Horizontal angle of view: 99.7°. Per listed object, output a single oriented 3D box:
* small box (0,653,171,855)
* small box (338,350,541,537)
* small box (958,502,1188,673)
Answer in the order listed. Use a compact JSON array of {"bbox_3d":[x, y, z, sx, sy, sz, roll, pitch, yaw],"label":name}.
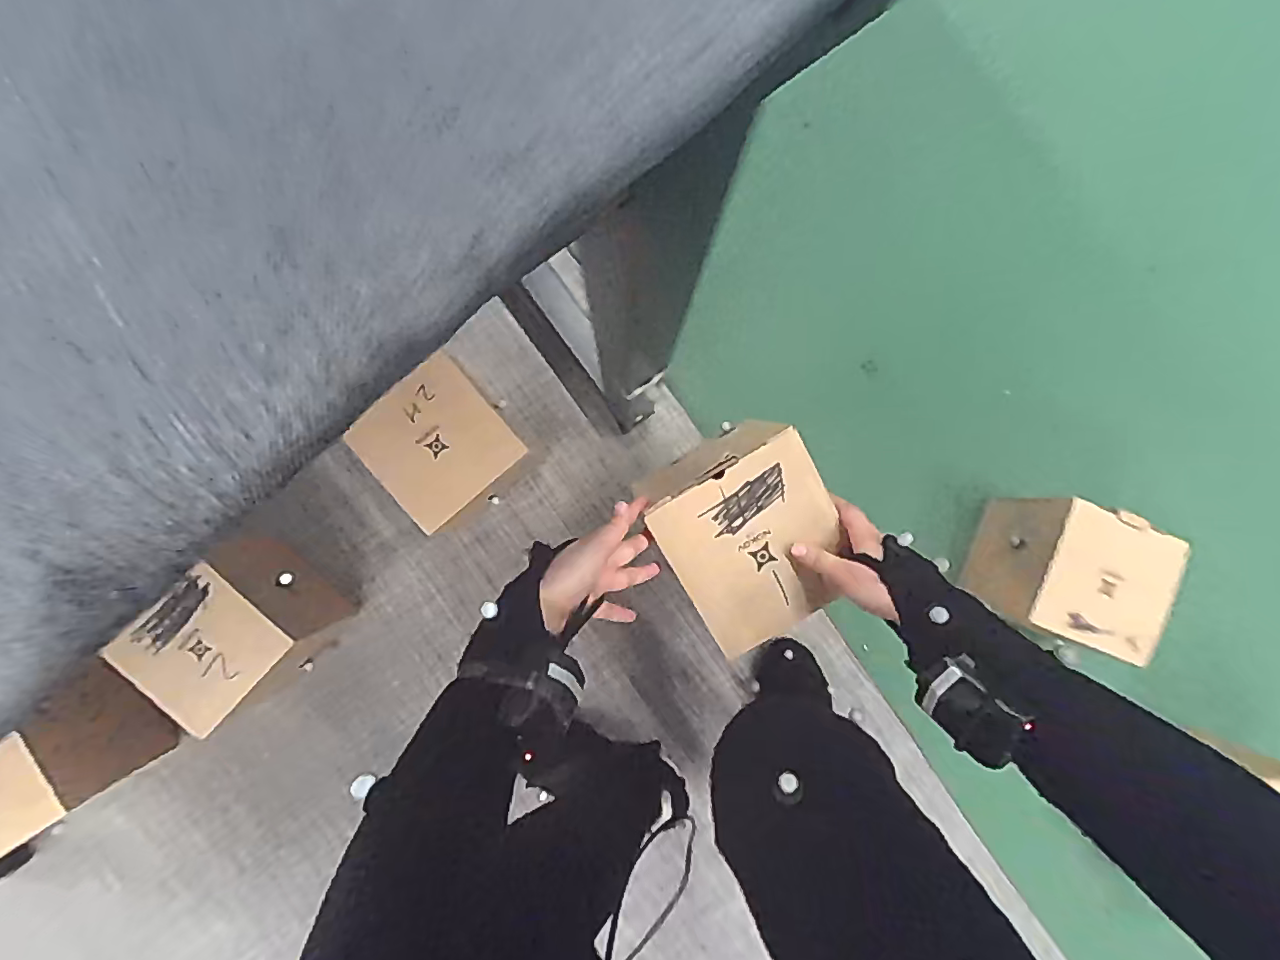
[{"bbox_3d":[-0.797,0.365,0.722,0.168,0.176,0.179,-31,90,-2],"label":"small box"},{"bbox_3d":[-0.256,-0.046,0.742,0.168,0.176,0.179,-40,91,-3],"label":"small box"},{"bbox_3d":[0.597,0.139,0.770,0.168,0.176,0.179,22,88,-1],"label":"small box"}]
